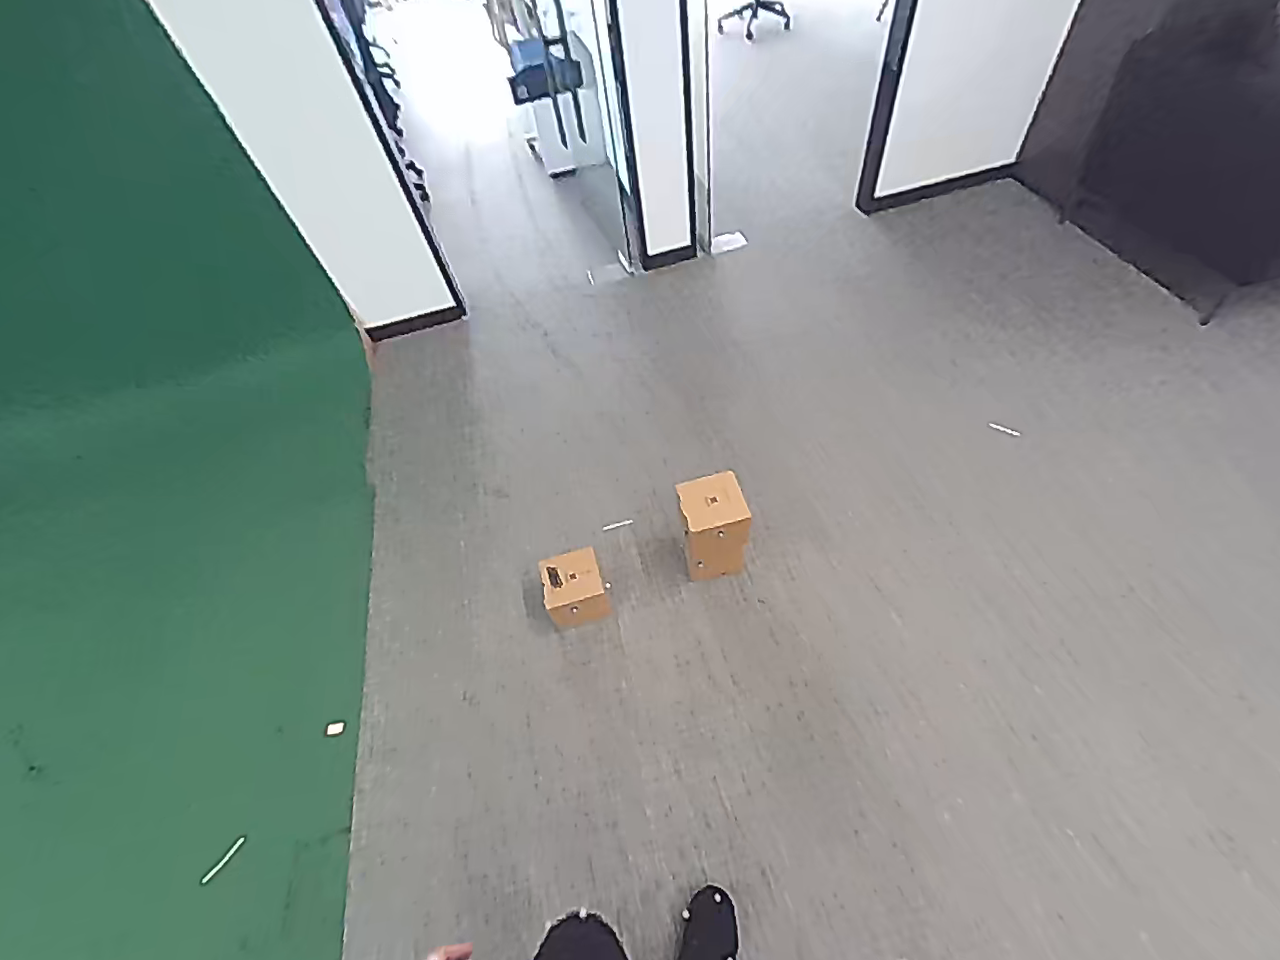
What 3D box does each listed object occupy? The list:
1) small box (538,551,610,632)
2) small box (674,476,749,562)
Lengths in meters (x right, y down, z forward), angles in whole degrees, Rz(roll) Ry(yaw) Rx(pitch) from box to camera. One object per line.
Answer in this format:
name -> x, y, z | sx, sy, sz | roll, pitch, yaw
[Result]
small box -> -0.201, 0.348, 1.665 | 0.179, 0.176, 0.168 | -15, 53, -5
small box -> 0.206, 0.119, 1.572 | 0.179, 0.176, 0.168 | -14, 53, -3
